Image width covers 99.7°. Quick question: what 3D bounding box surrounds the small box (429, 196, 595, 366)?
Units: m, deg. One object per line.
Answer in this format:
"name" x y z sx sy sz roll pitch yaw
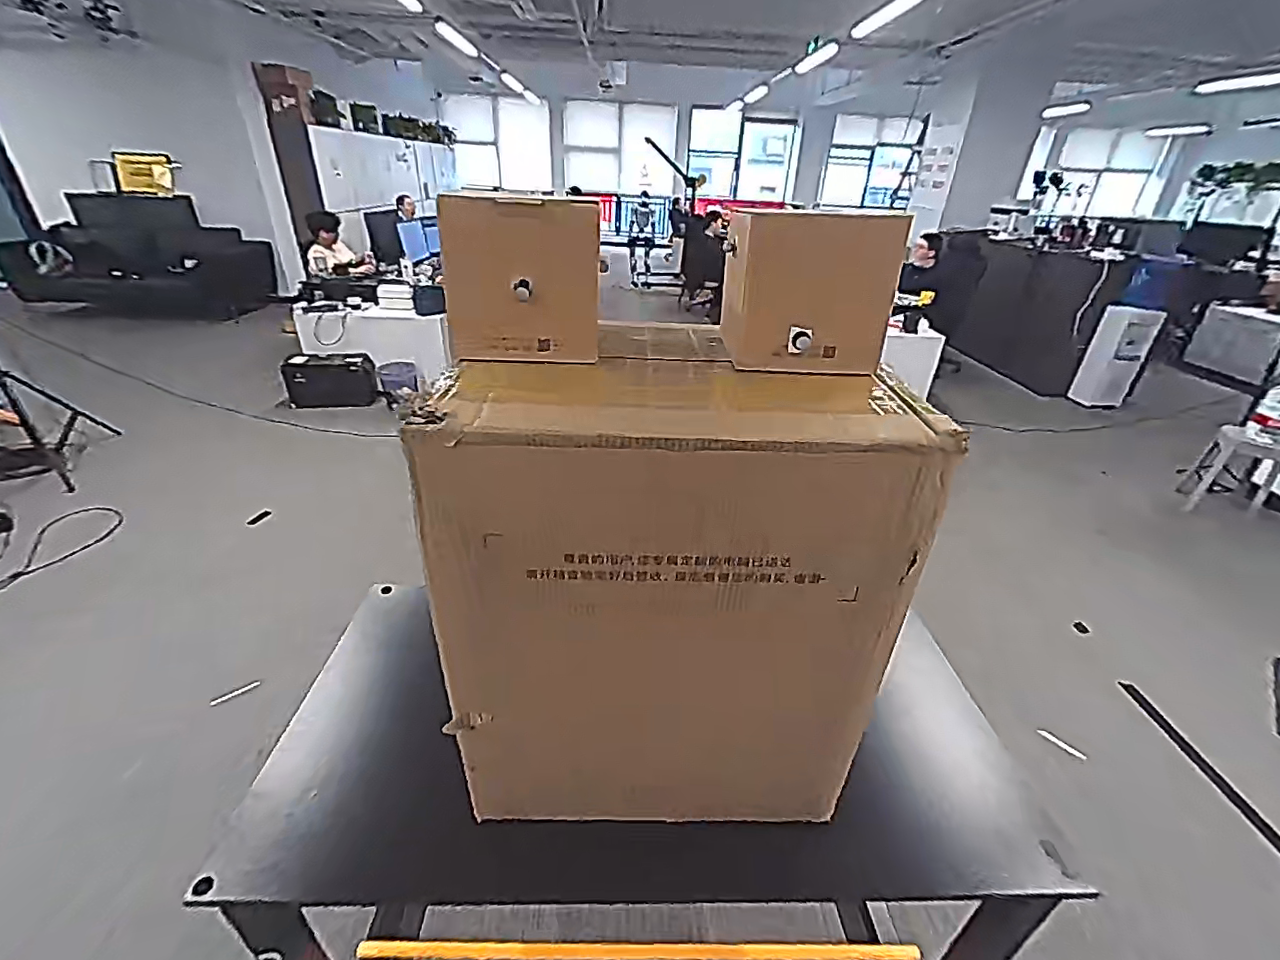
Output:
"small box" -0.138 -0.241 0.649 0.168 0.176 0.179 -1 29 -6

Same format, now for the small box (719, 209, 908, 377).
"small box" 0.190 -0.231 0.654 0.168 0.176 0.179 0 29 1
